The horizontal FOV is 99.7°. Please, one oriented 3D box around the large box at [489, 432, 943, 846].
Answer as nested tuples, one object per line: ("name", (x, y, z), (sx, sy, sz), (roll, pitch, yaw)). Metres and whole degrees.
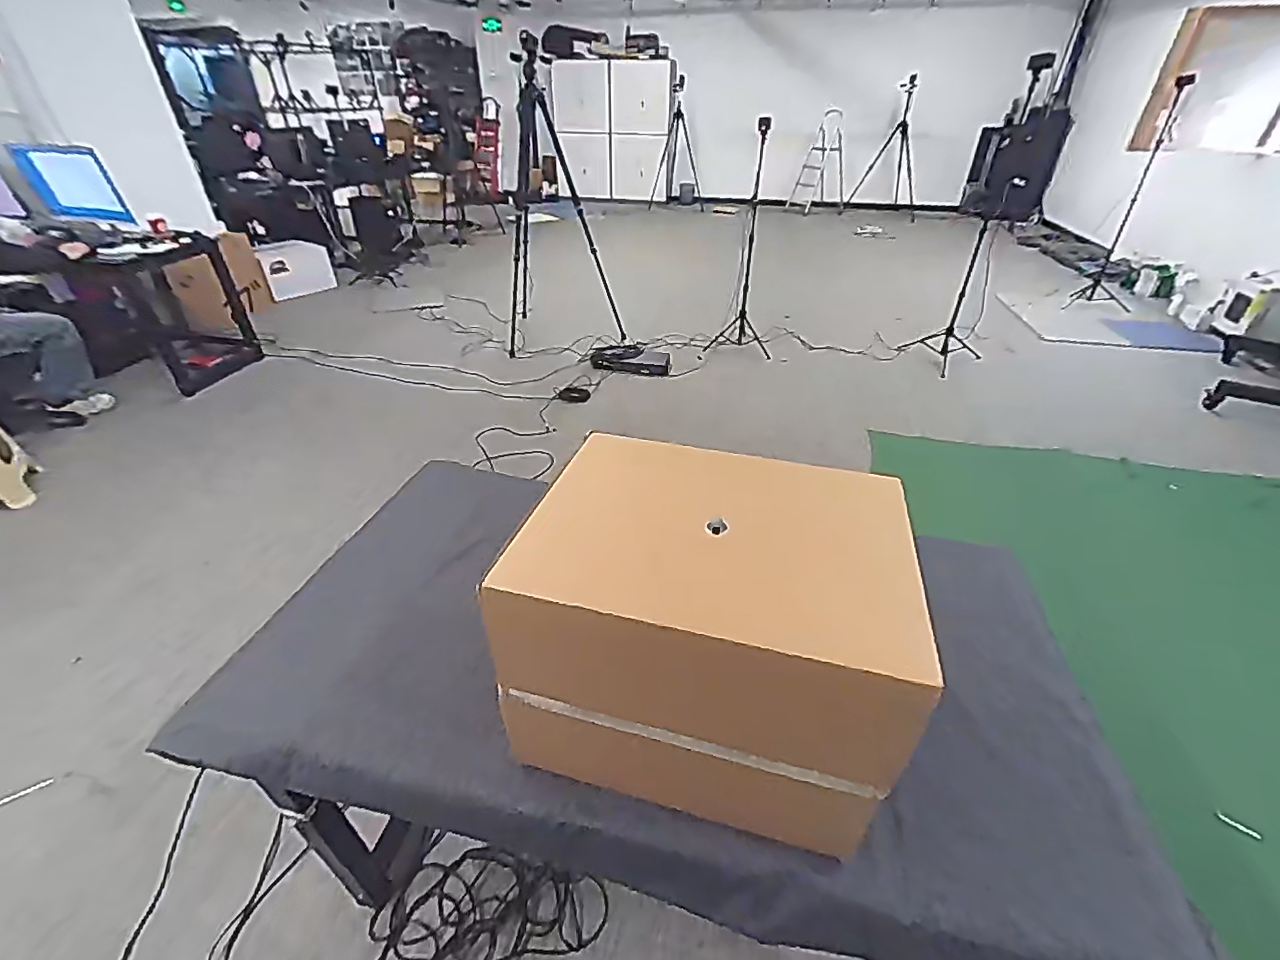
("large box", (0.084, 0.174, 0.666), (0.408, 0.320, 0.320), (9, 35, 11))
